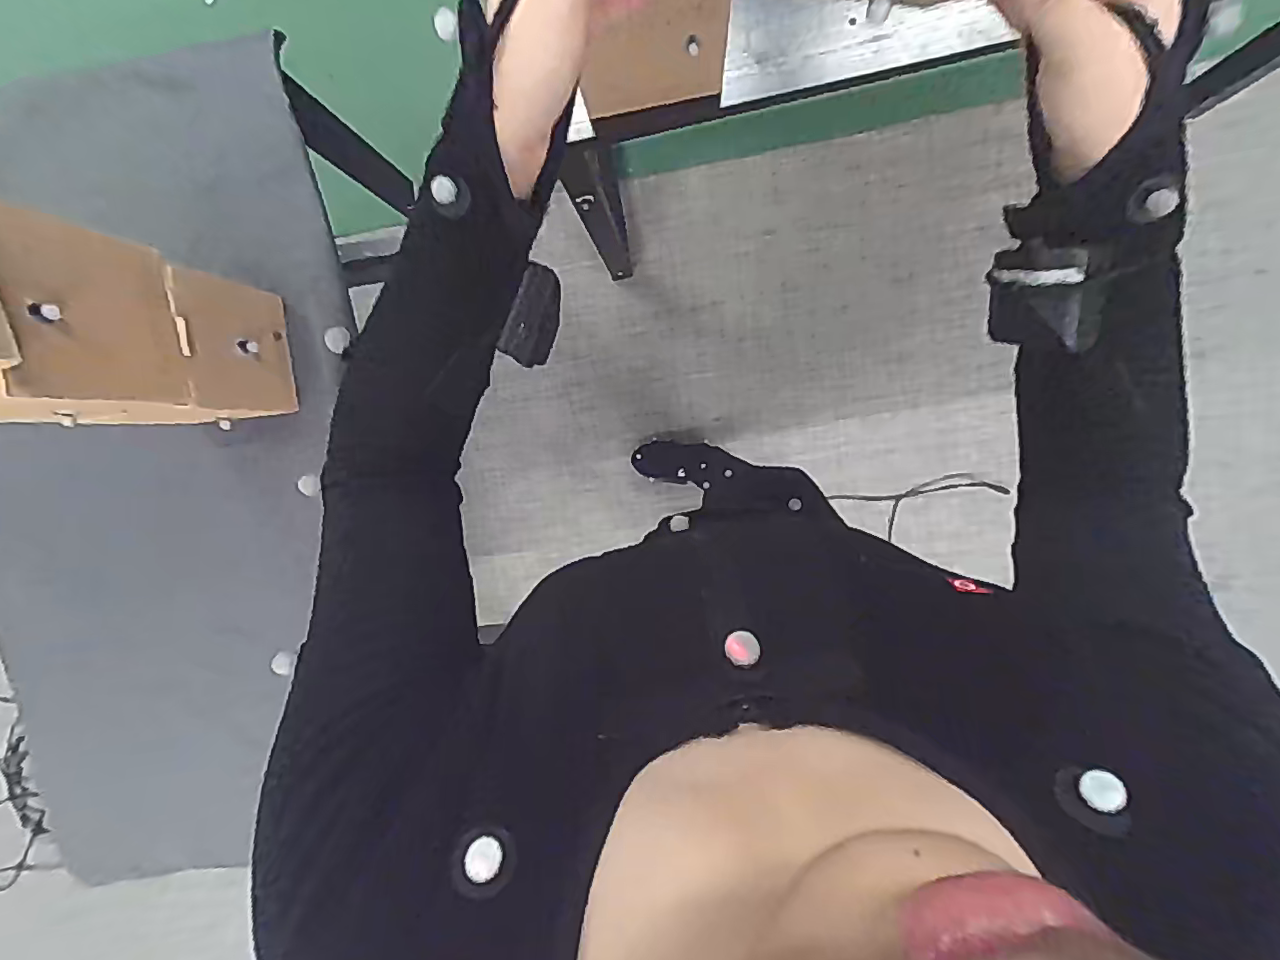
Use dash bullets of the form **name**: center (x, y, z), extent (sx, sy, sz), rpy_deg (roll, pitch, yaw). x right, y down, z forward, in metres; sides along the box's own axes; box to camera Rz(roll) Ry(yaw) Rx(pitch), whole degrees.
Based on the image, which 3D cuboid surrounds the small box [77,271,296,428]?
- **small box**: center (-0.584, -0.159, 0.705), extent (0.179, 0.176, 0.168), rpy_deg (-5, 96, 7)

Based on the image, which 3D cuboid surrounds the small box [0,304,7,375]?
- **small box**: center (-0.619, -0.142, 0.378), extent (0.179, 0.176, 0.168), rpy_deg (-15, 94, 9)

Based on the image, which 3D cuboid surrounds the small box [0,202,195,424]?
- **small box**: center (-0.606, -0.151, 0.543), extent (0.168, 0.176, 0.179), rpy_deg (-7, 96, 8)
